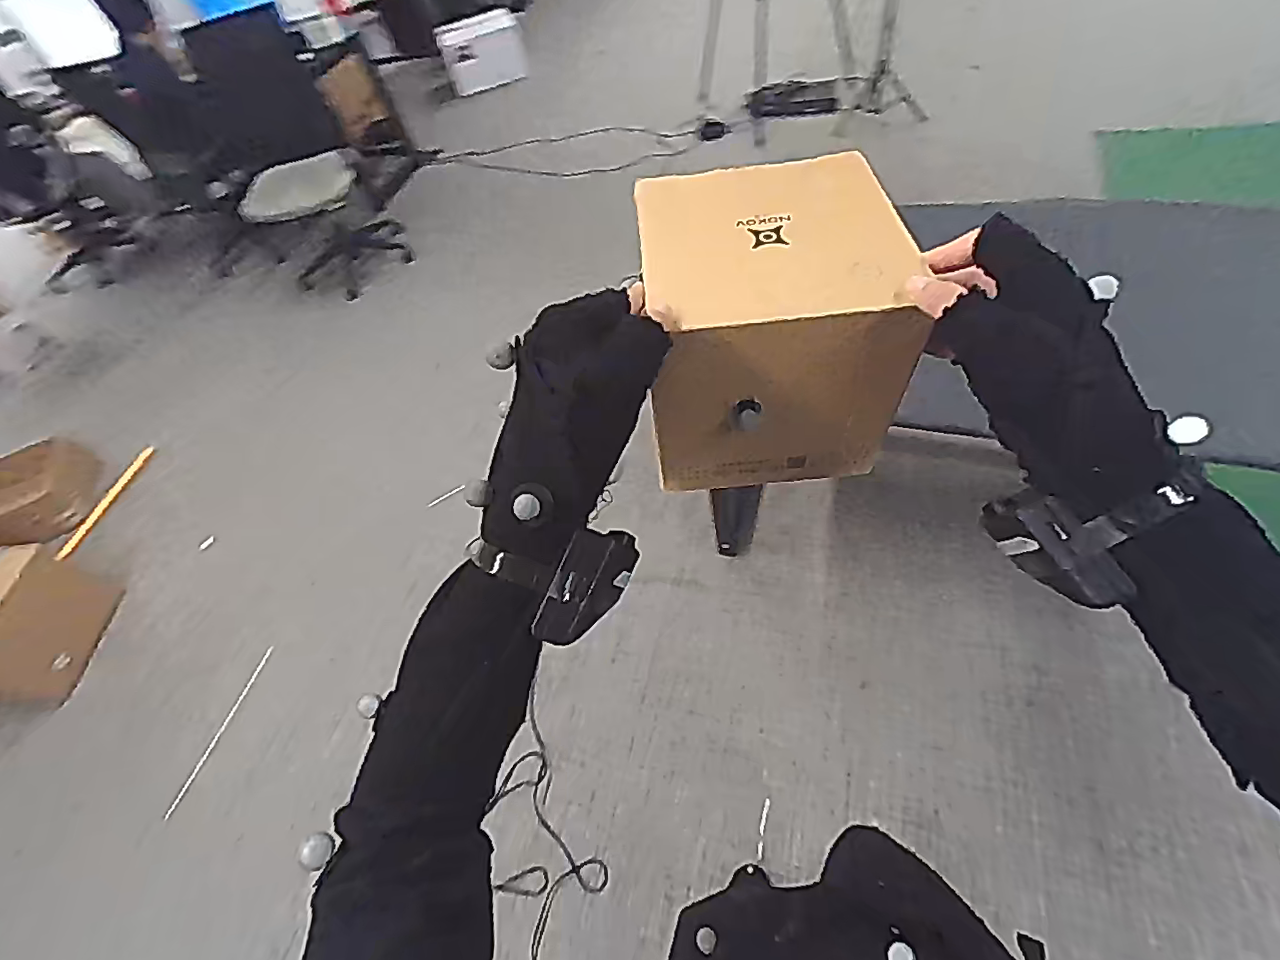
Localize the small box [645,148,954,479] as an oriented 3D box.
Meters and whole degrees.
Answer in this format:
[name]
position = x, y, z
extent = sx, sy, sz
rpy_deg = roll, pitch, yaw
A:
[small box]
position = 0.095, -0.112, 0.406
extent = 0.168, 0.176, 0.179
rpy_deg = -5, 54, 4
